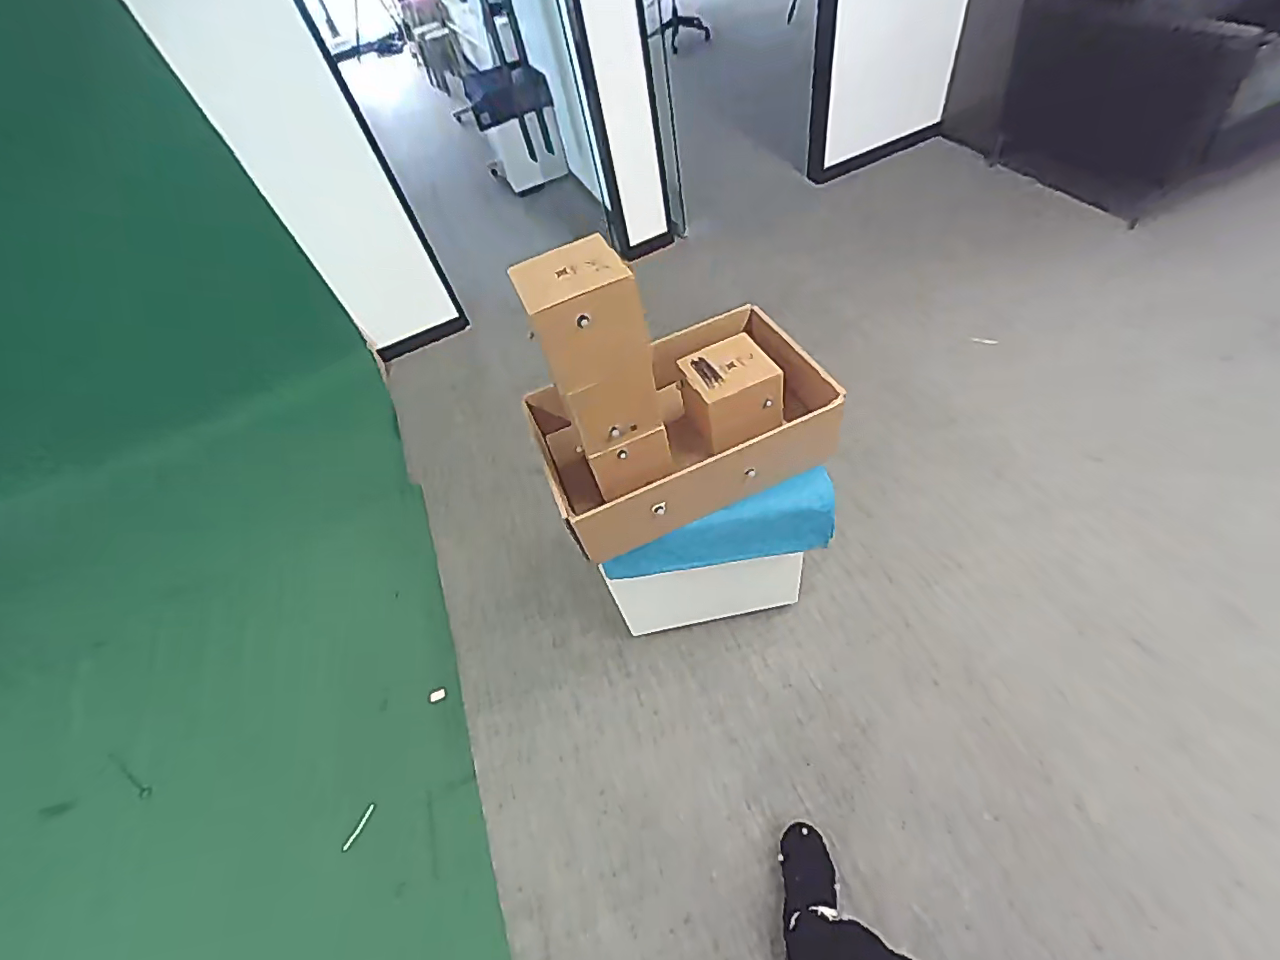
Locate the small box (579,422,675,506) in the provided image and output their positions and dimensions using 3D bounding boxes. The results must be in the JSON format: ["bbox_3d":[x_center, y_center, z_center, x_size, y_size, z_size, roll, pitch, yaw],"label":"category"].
[{"bbox_3d":[-0.037,-0.077,1.181,0.168,0.176,0.179,-23,49,-6],"label":"small box"}]

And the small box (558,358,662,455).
[{"bbox_3d":[-0.070,-0.181,1.060,0.168,0.176,0.179,-23,50,-6],"label":"small box"}]

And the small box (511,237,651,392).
[{"bbox_3d":[-0.098,-0.280,0.932,0.179,0.176,0.168,-23,50,-5],"label":"small box"}]
